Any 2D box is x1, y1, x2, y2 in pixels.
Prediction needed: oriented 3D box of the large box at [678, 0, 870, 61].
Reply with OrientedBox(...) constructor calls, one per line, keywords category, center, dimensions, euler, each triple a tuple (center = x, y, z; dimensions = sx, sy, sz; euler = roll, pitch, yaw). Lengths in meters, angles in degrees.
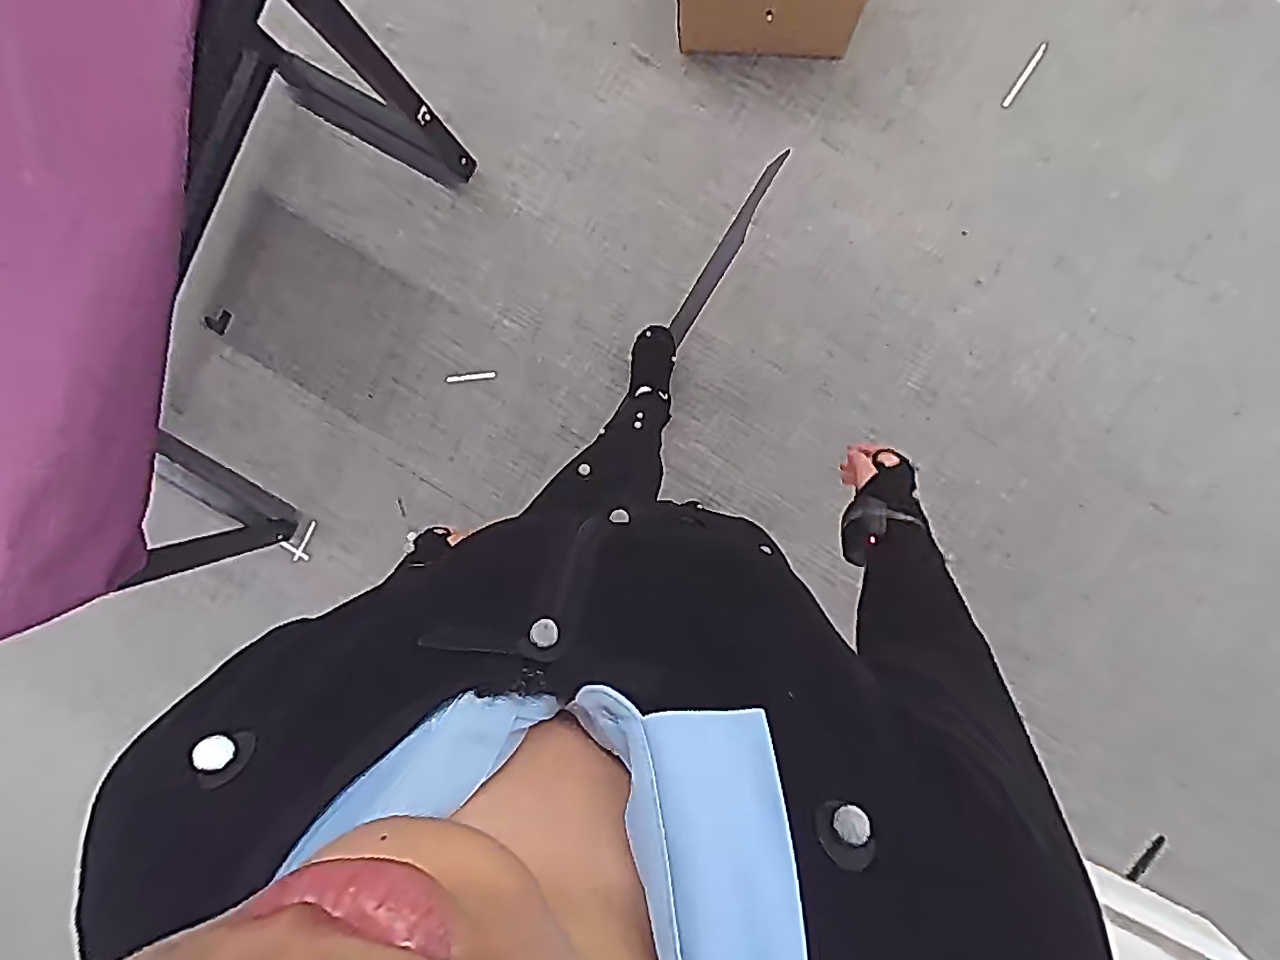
OrientedBox(category="large box", center=(0.296, -1.166, 1.165), dimensions=(0.408, 0.320, 0.320), euler=(5, 96, 6))
